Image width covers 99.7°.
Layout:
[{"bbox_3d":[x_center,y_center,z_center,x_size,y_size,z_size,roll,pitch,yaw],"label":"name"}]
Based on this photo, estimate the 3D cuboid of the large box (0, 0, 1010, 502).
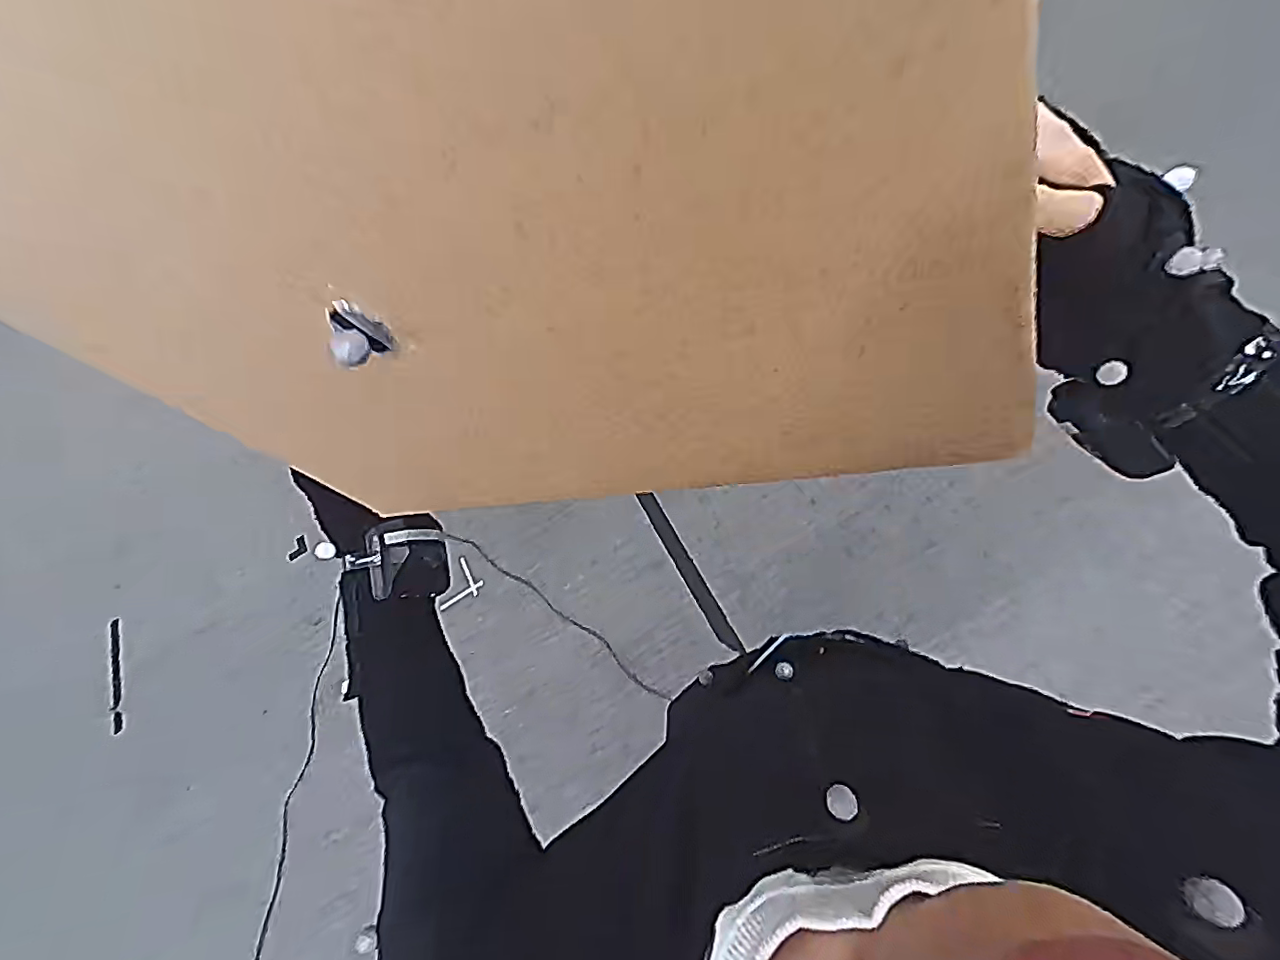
[{"bbox_3d":[-0.071,-0.203,0.288,0.408,0.320,0.320,-9,59,32],"label":"large box"}]
